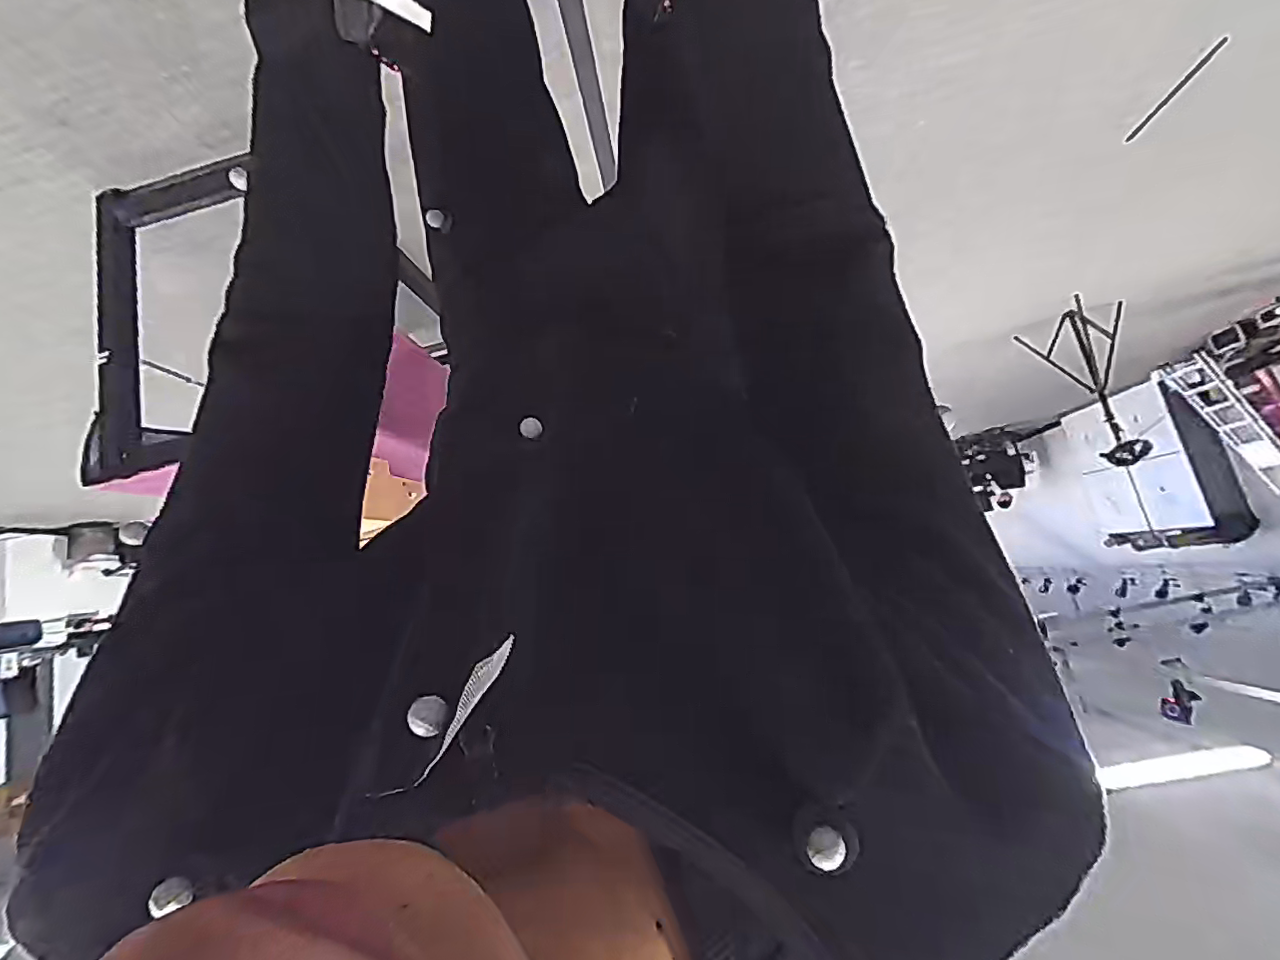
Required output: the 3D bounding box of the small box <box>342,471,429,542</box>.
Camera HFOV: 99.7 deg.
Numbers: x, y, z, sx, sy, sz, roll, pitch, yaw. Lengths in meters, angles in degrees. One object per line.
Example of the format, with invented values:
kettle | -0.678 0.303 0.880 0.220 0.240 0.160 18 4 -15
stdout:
small box | -0.761 0.082 1.611 0.179 0.176 0.168 -15 170 10
